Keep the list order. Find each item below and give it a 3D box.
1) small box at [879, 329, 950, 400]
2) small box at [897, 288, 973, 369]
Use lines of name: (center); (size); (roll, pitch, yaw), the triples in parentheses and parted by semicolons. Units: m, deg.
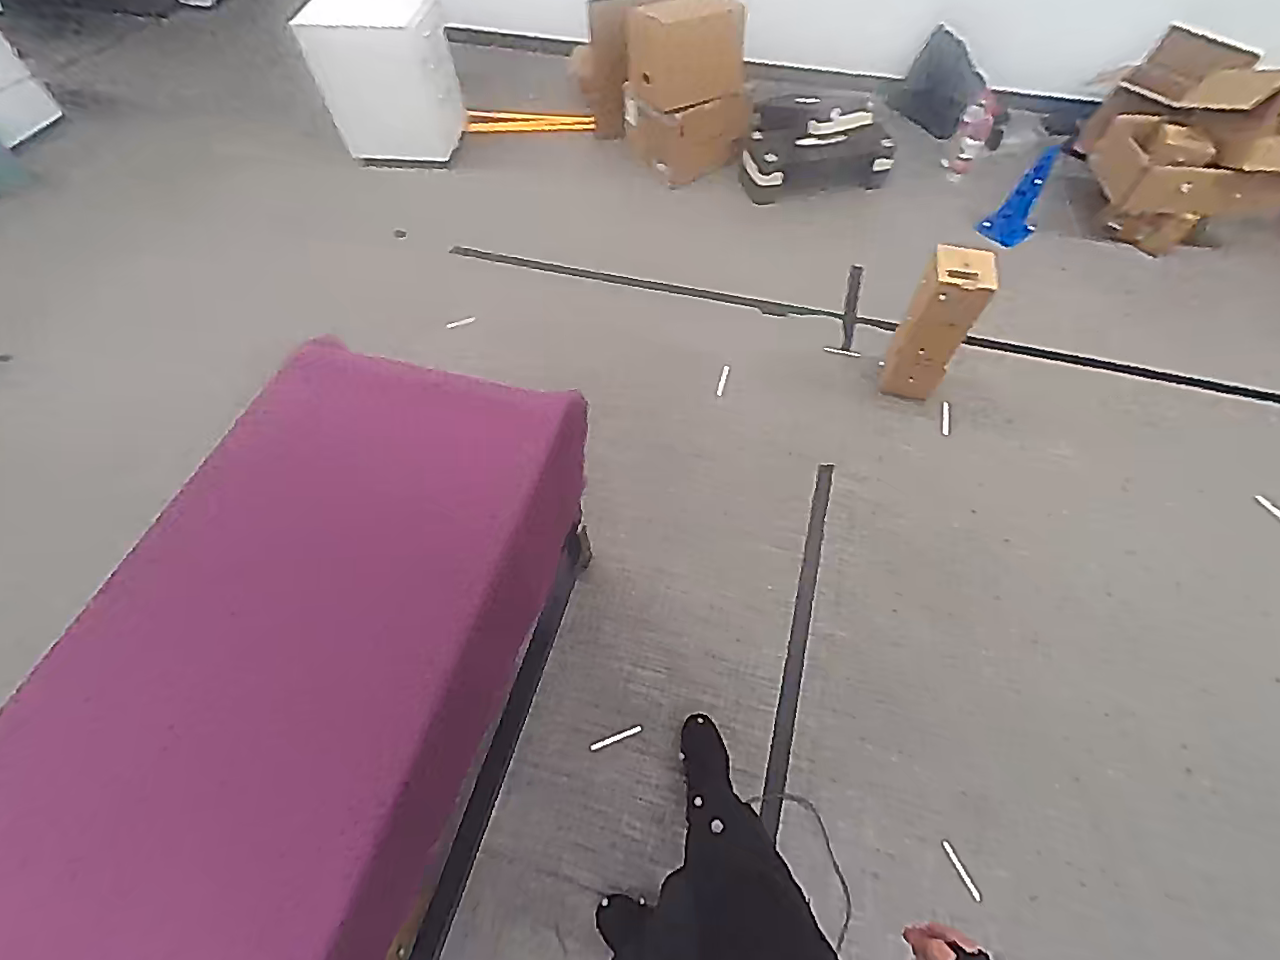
small box: (0.984, -0.410, 1.943); (0.179, 0.176, 0.168); (13, 60, 9)
small box: (0.982, -0.504, 1.810); (0.168, 0.176, 0.179); (18, 62, 10)
